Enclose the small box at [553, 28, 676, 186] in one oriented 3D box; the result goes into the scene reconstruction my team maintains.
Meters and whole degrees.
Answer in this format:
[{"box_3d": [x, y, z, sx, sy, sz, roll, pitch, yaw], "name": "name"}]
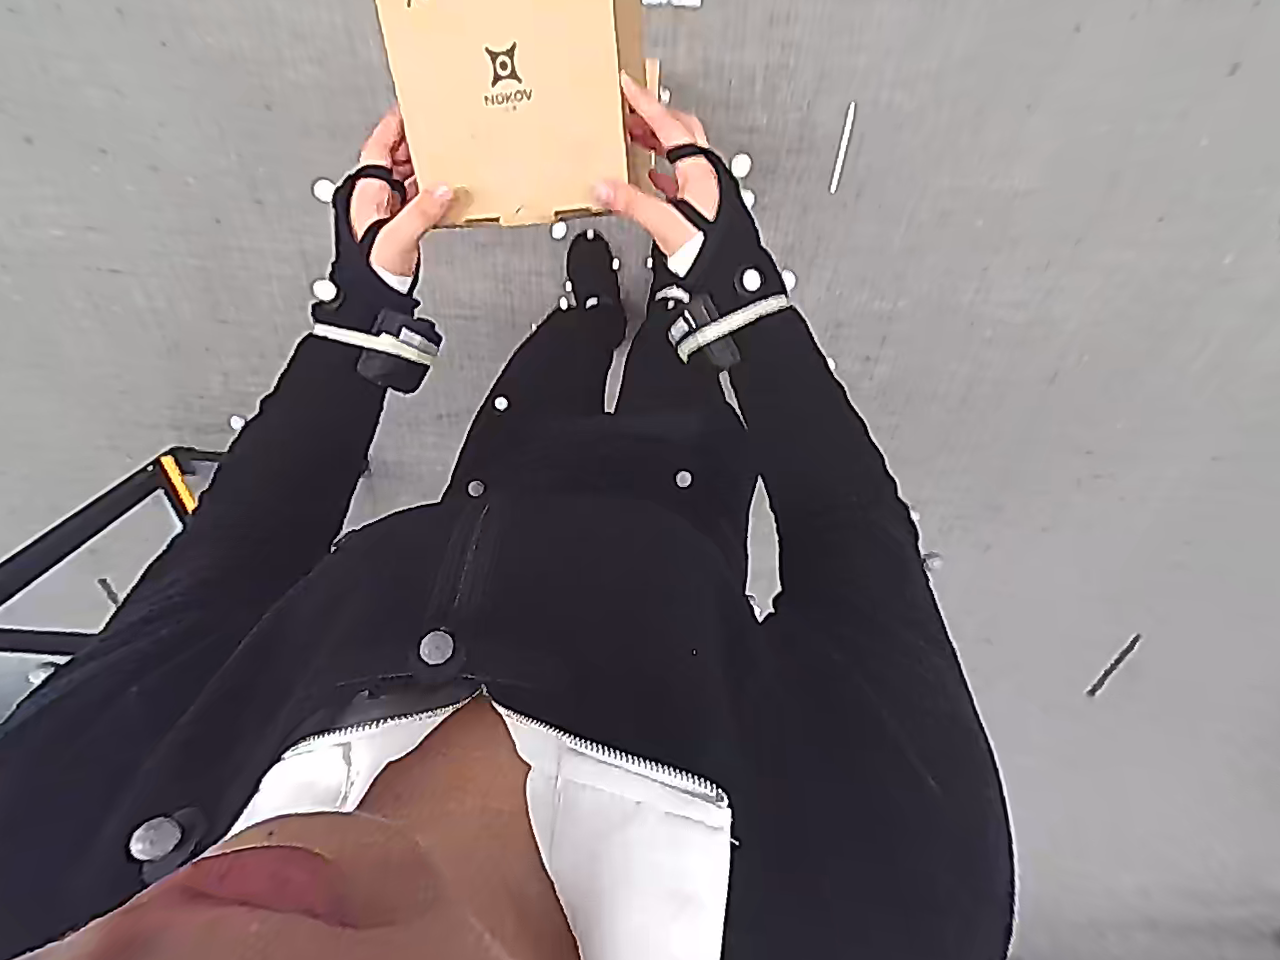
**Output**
[{"box_3d": [-0.036, -0.556, 0.818, 0.168, 0.176, 0.179, 3, 125, 0], "name": "small box"}]
